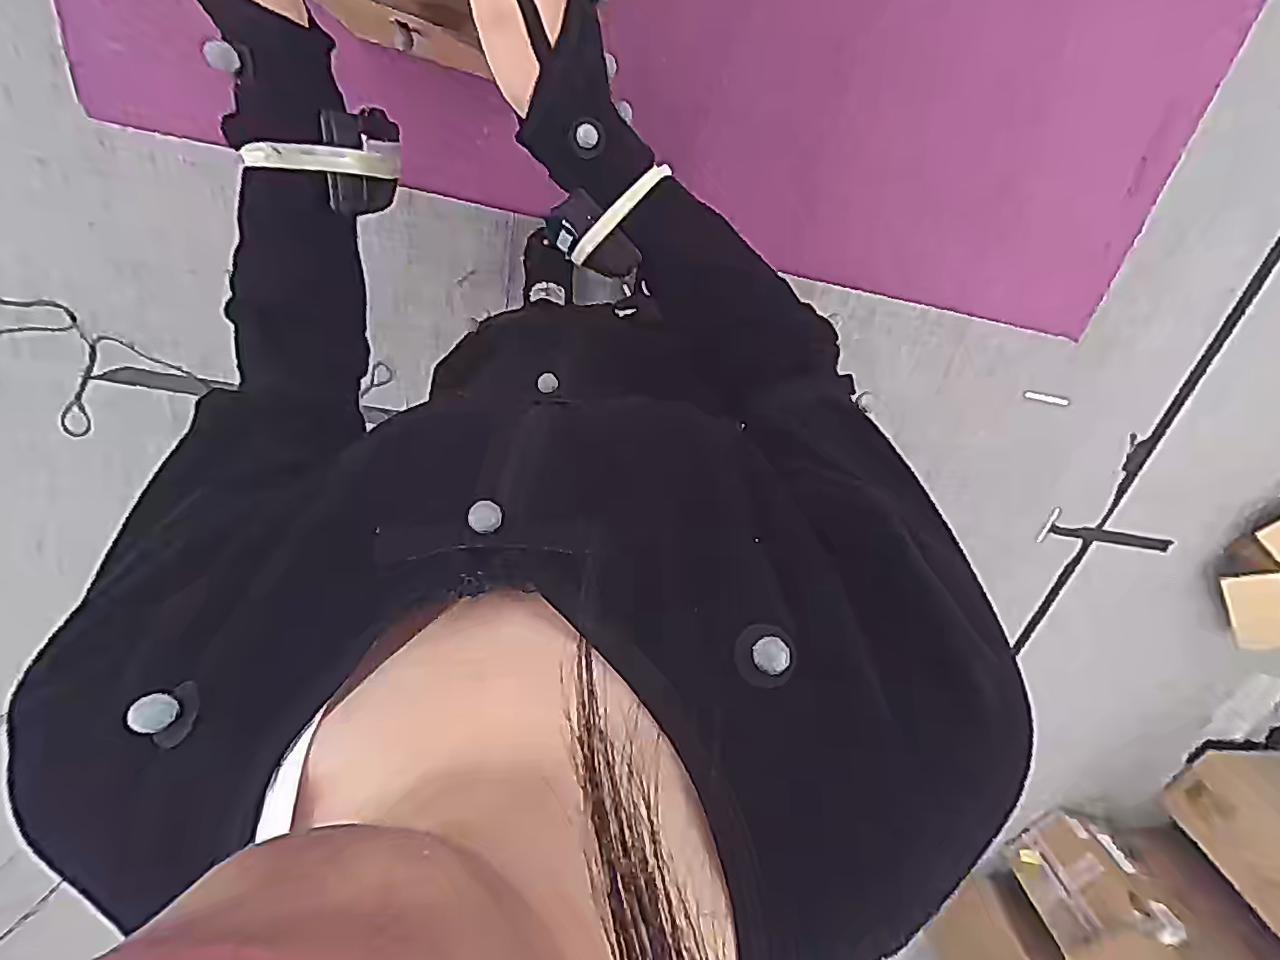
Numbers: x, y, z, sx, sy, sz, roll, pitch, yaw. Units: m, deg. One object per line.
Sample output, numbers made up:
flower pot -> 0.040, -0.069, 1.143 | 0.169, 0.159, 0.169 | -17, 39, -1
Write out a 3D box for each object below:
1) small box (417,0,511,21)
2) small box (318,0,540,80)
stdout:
small box -> -0.153, -0.403, 0.296 | 0.168, 0.176, 0.179 | 9, 116, -10
small box -> -0.170, -0.463, 0.449 | 0.179, 0.176, 0.168 | 11, 115, -11
